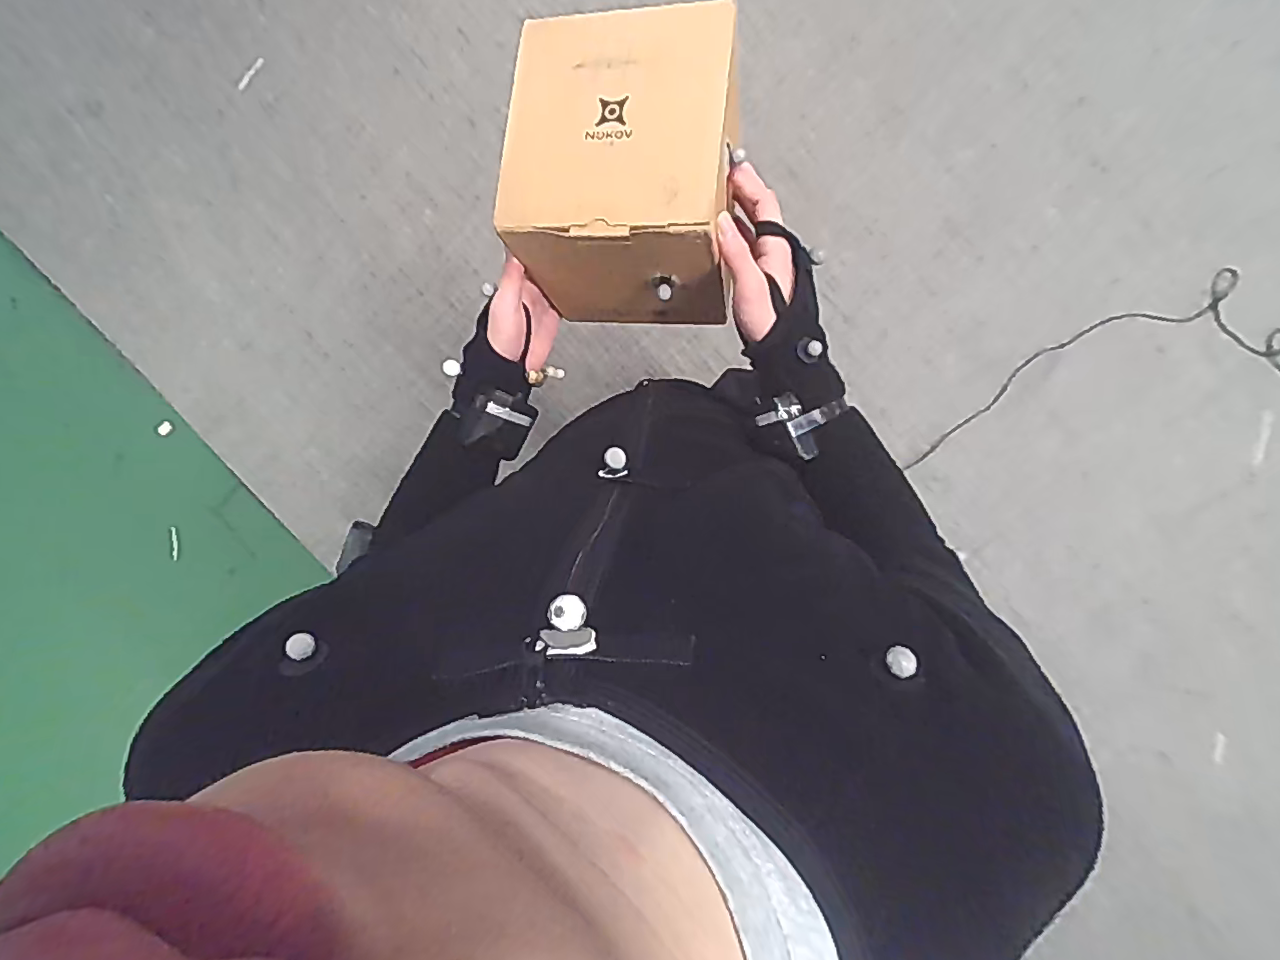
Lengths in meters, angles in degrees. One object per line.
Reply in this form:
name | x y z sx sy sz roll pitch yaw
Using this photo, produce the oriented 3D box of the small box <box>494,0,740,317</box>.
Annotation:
small box | -0.004 -0.255 0.467 0.168 0.176 0.179 5 83 11
